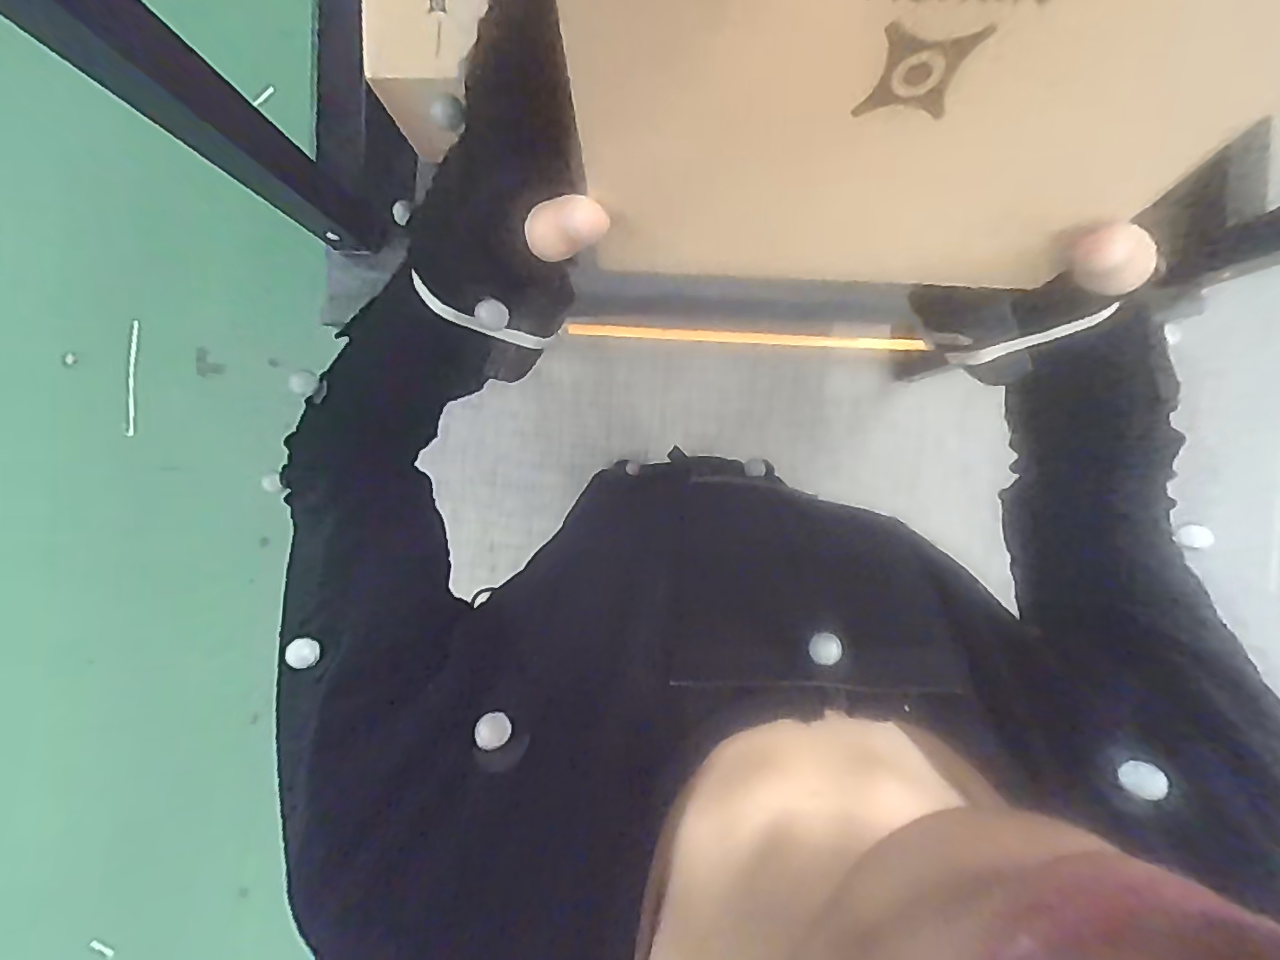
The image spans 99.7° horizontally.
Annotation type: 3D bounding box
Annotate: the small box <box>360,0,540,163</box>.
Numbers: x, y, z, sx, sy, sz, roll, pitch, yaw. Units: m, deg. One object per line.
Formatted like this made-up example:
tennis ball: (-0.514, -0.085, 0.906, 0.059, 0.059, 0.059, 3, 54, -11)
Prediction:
small box: (-0.218, -0.523, 0.659, 0.168, 0.176, 0.179, 0, 92, 0)

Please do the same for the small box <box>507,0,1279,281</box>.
small box: (0.059, -0.178, 0.137, 0.168, 0.179, 0.176, 4, 78, 3)
